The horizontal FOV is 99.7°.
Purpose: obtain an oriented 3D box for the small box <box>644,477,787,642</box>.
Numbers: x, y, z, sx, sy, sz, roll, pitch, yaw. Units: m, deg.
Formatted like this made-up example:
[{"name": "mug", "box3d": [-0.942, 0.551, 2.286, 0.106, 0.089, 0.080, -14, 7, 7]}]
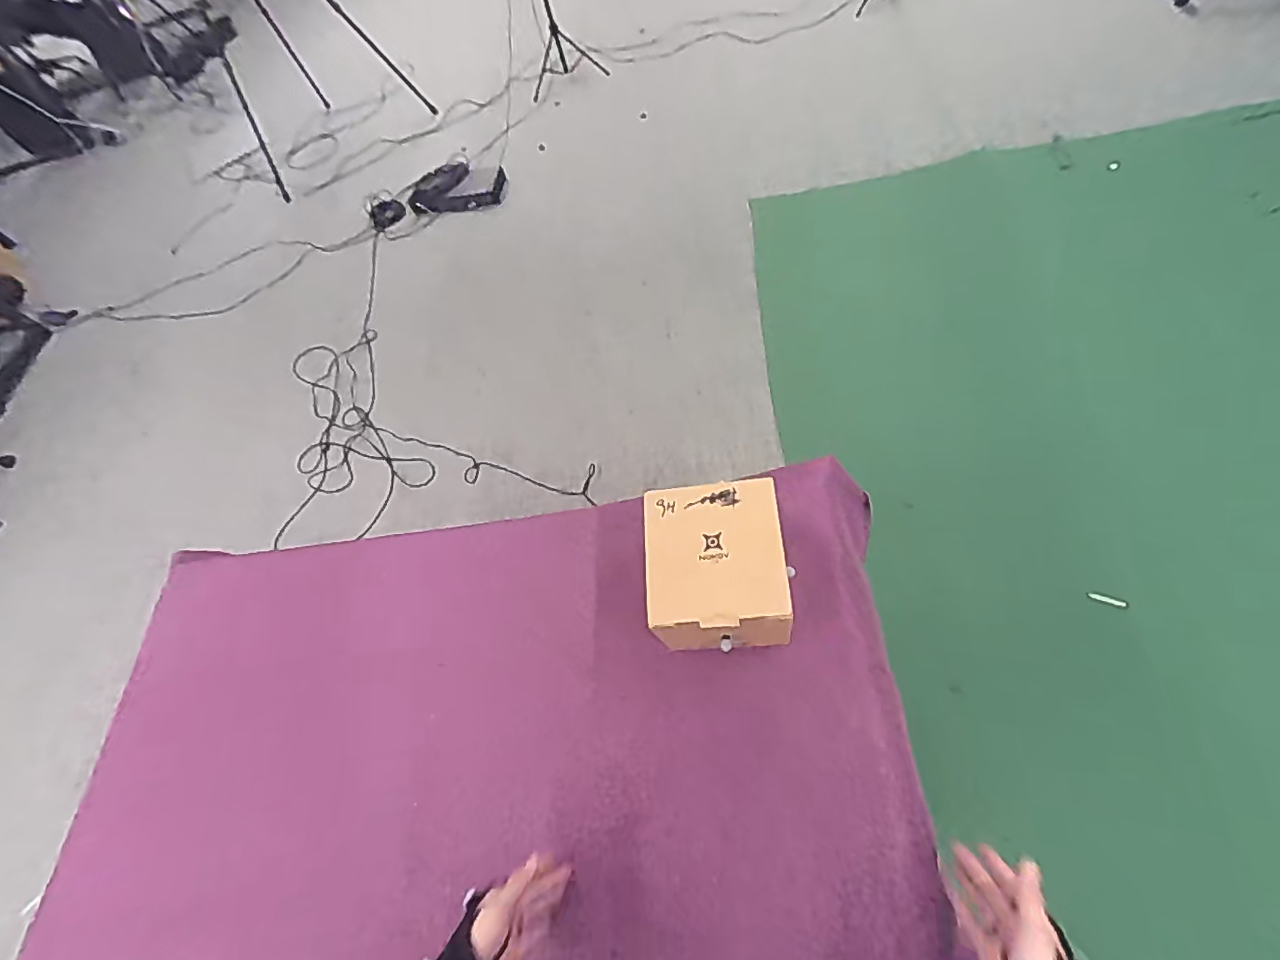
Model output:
[{"name": "small box", "box3d": [0.103, 0.116, 0.719, 0.168, 0.176, 0.179, -6, 63, 11]}]
